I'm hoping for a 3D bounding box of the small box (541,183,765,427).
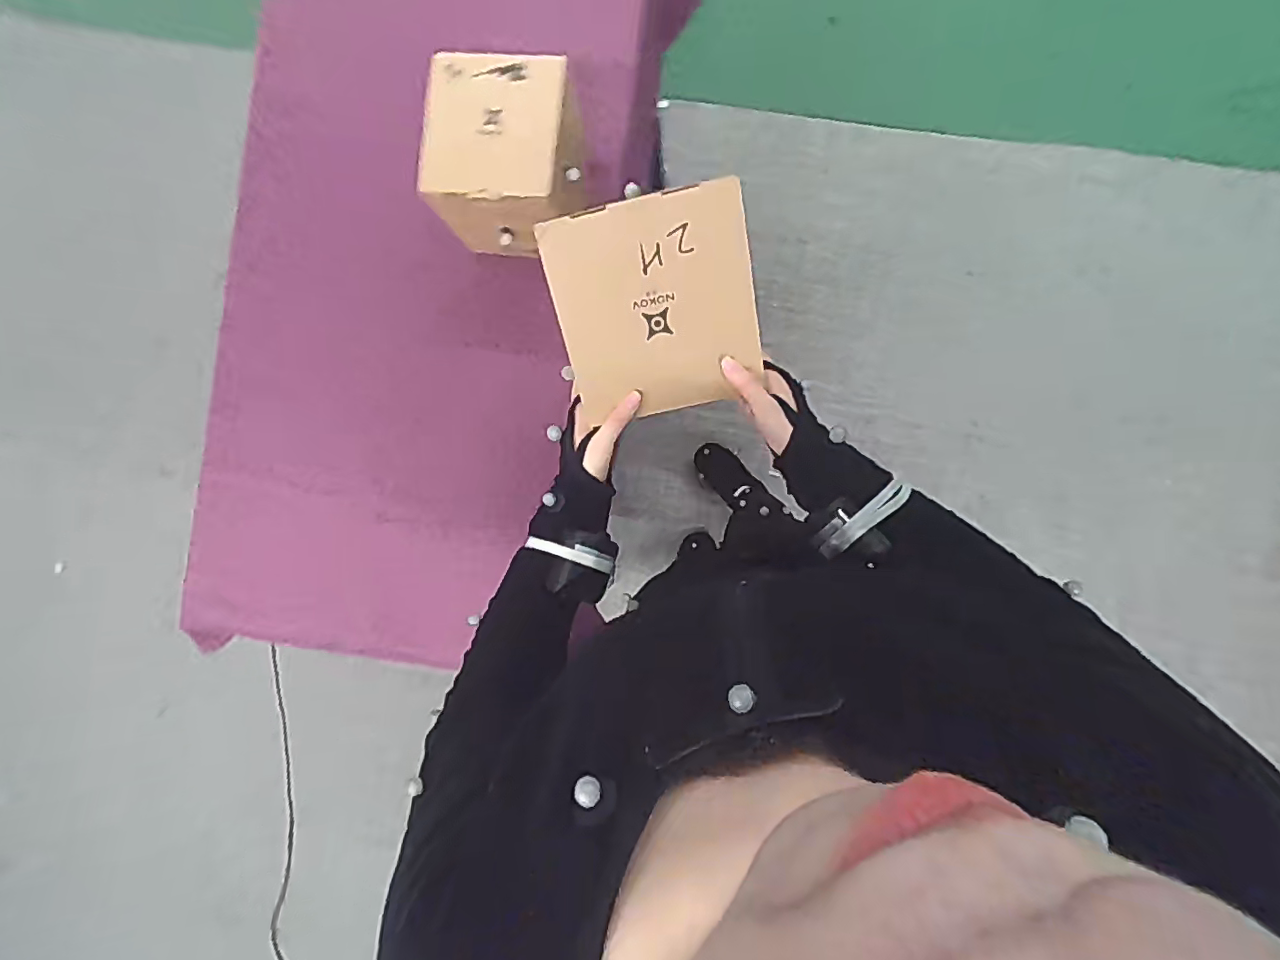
[{"bbox_3d":[0.018,-0.172,0.526,0.168,0.176,0.179,-10,114,5],"label":"small box"}]

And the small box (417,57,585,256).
[{"bbox_3d":[-0.175,-0.420,0.730,0.168,0.176,0.179,6,89,5],"label":"small box"}]
